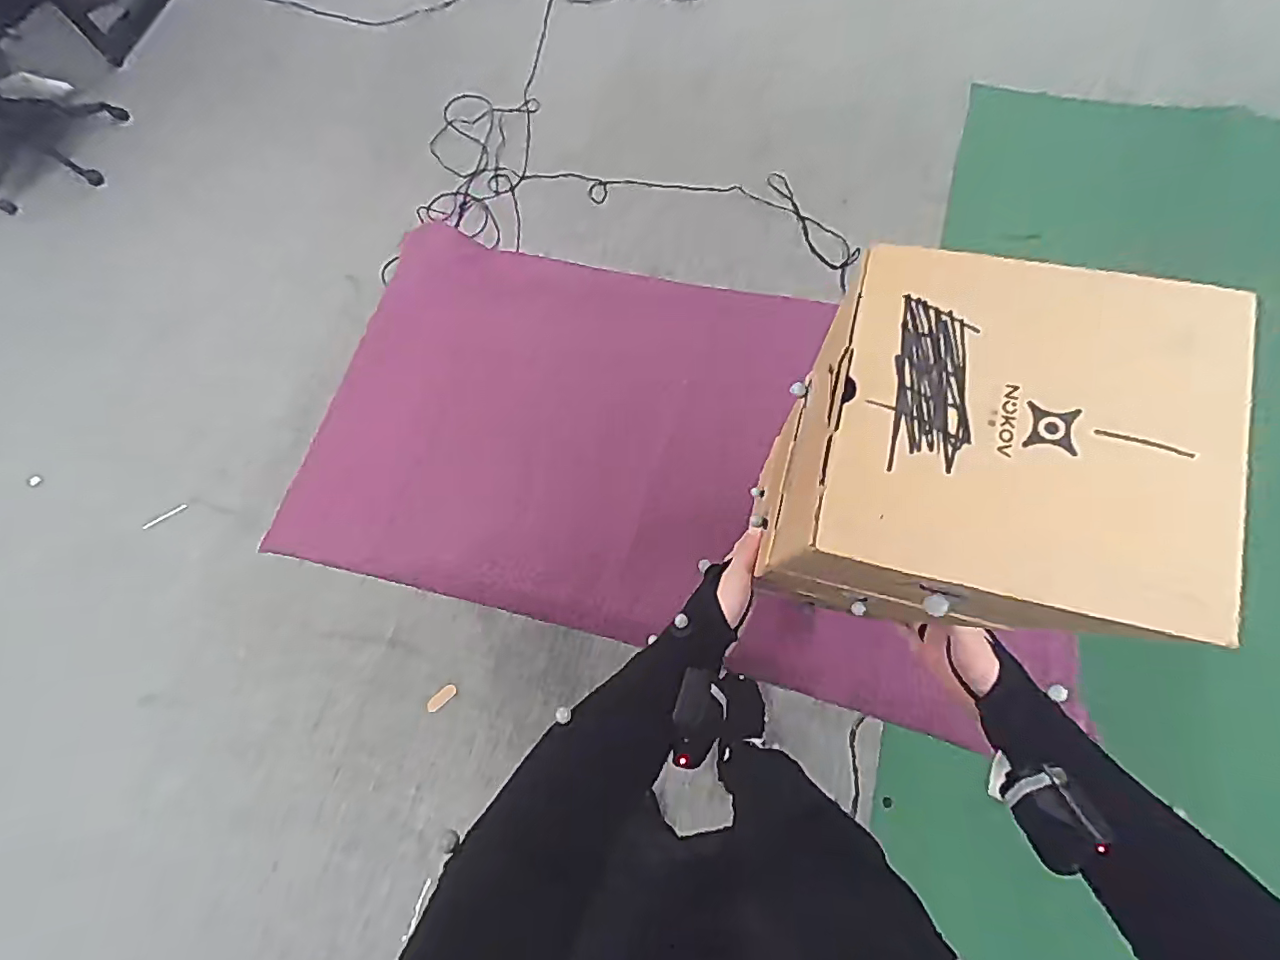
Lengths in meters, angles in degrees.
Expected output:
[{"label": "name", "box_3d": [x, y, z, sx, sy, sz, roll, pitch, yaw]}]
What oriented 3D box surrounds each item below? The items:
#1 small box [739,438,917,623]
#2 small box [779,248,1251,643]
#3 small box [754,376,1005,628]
[{"label": "small box", "box_3d": [0.225, 0.065, 0.649, 0.179, 0.176, 0.168, 13, 78, 9]}, {"label": "small box", "box_3d": [0.192, -0.009, 0.331, 0.179, 0.176, 0.168, 13, 80, 9]}, {"label": "small box", "box_3d": [0.208, 0.028, 0.490, 0.179, 0.176, 0.168, 14, 80, 10]}]
